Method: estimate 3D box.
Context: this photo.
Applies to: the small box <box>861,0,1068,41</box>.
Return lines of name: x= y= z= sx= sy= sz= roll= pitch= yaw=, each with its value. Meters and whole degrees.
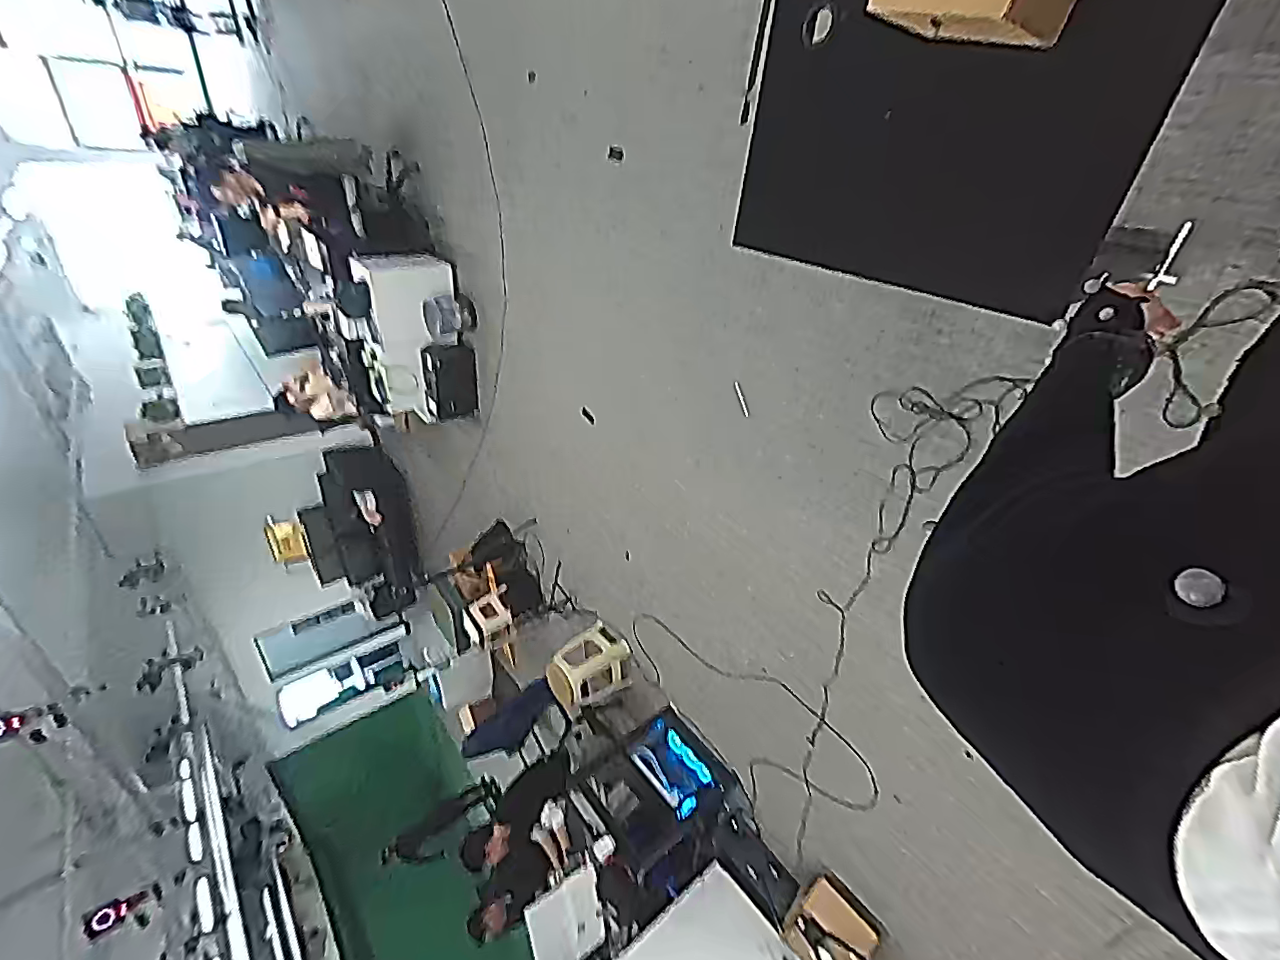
small box: x=0.402 y=-0.628 z=0.623 sx=0.179 sy=0.176 sz=0.168 roll=41 pitch=136 yaw=34
